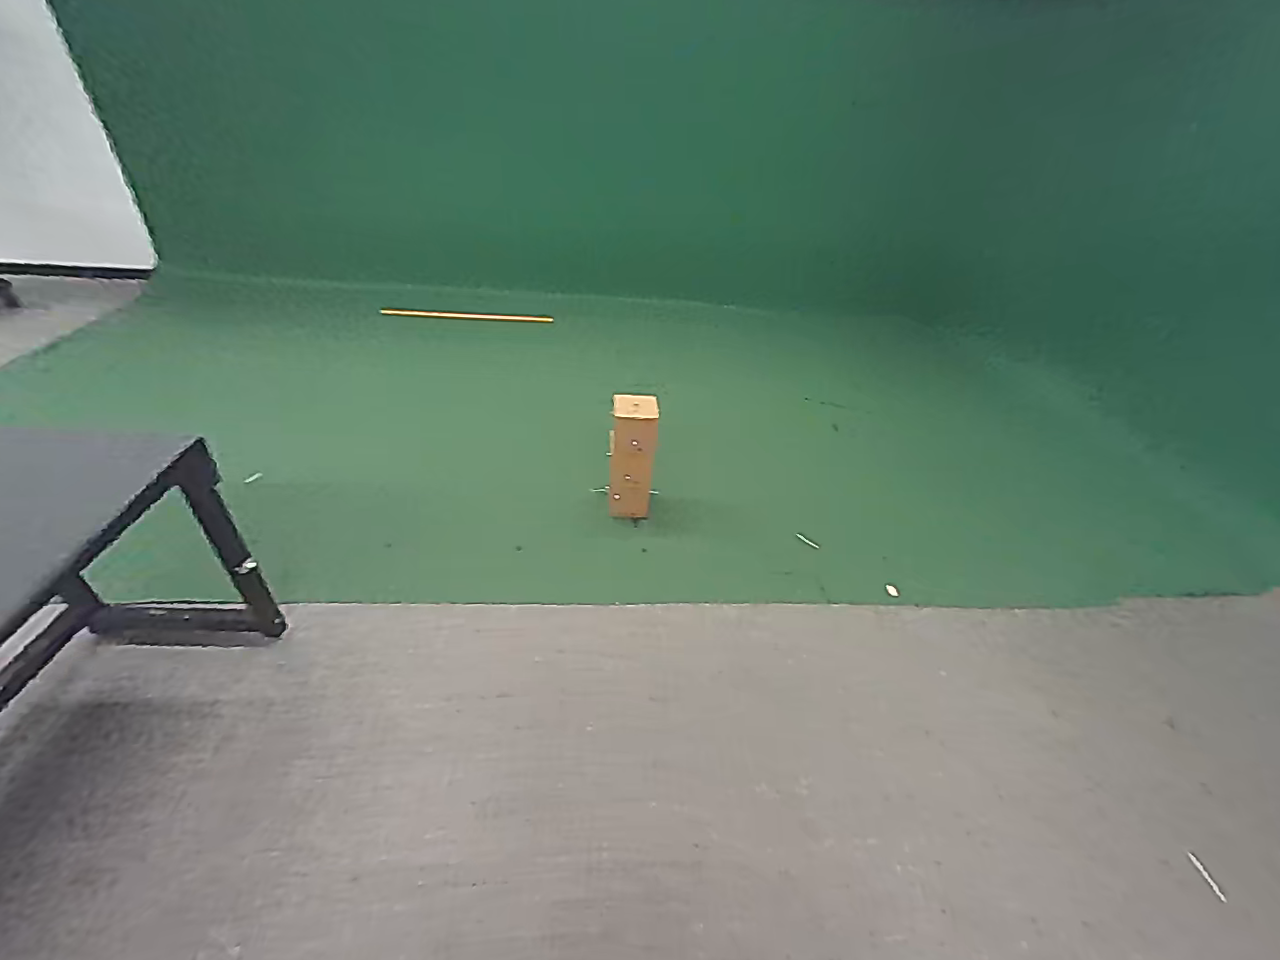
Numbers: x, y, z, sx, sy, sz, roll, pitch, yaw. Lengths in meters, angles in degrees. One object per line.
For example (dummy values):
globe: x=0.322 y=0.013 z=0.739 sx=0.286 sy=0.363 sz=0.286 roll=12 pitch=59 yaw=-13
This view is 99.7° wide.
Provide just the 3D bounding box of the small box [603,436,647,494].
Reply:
small box: x=-0.064 y=-0.064 z=2.234 sx=0.168 sy=0.176 sz=0.179 roll=2 pitch=36 yaw=-6

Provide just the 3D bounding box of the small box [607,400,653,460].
small box: x=-0.042 y=-0.200 z=2.142 sx=0.168 sy=0.176 sz=0.179 roll=3 pitch=36 yaw=-5
